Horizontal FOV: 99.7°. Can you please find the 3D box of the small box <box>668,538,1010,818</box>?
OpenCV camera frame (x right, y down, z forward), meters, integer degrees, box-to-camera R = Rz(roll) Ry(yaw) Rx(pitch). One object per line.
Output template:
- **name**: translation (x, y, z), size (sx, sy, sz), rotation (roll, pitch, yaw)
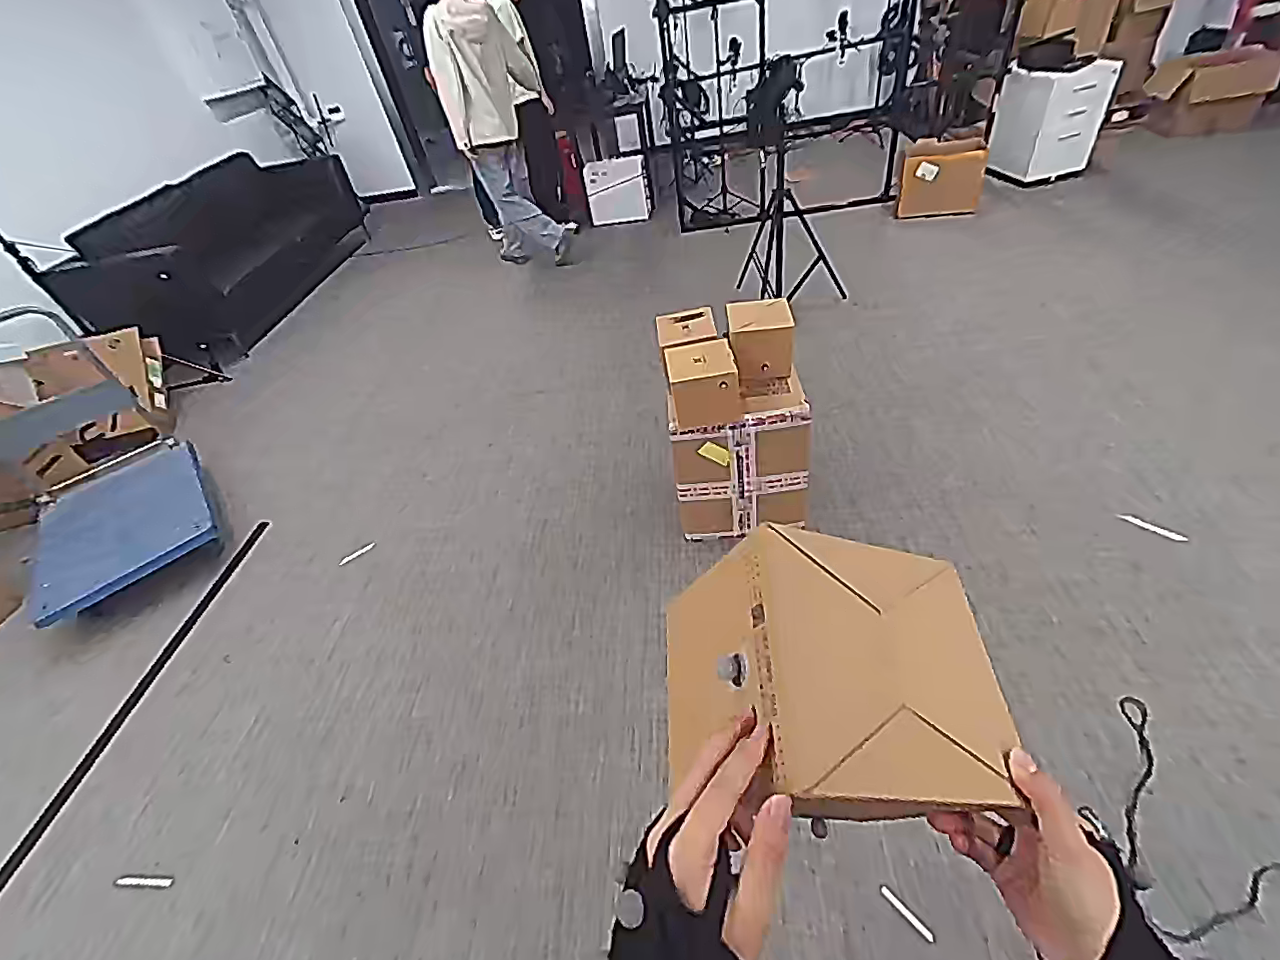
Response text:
- **small box**: translation (0.136, 0.164, 0.423), size (0.179, 0.176, 0.168), rotation (14, 52, -18)
